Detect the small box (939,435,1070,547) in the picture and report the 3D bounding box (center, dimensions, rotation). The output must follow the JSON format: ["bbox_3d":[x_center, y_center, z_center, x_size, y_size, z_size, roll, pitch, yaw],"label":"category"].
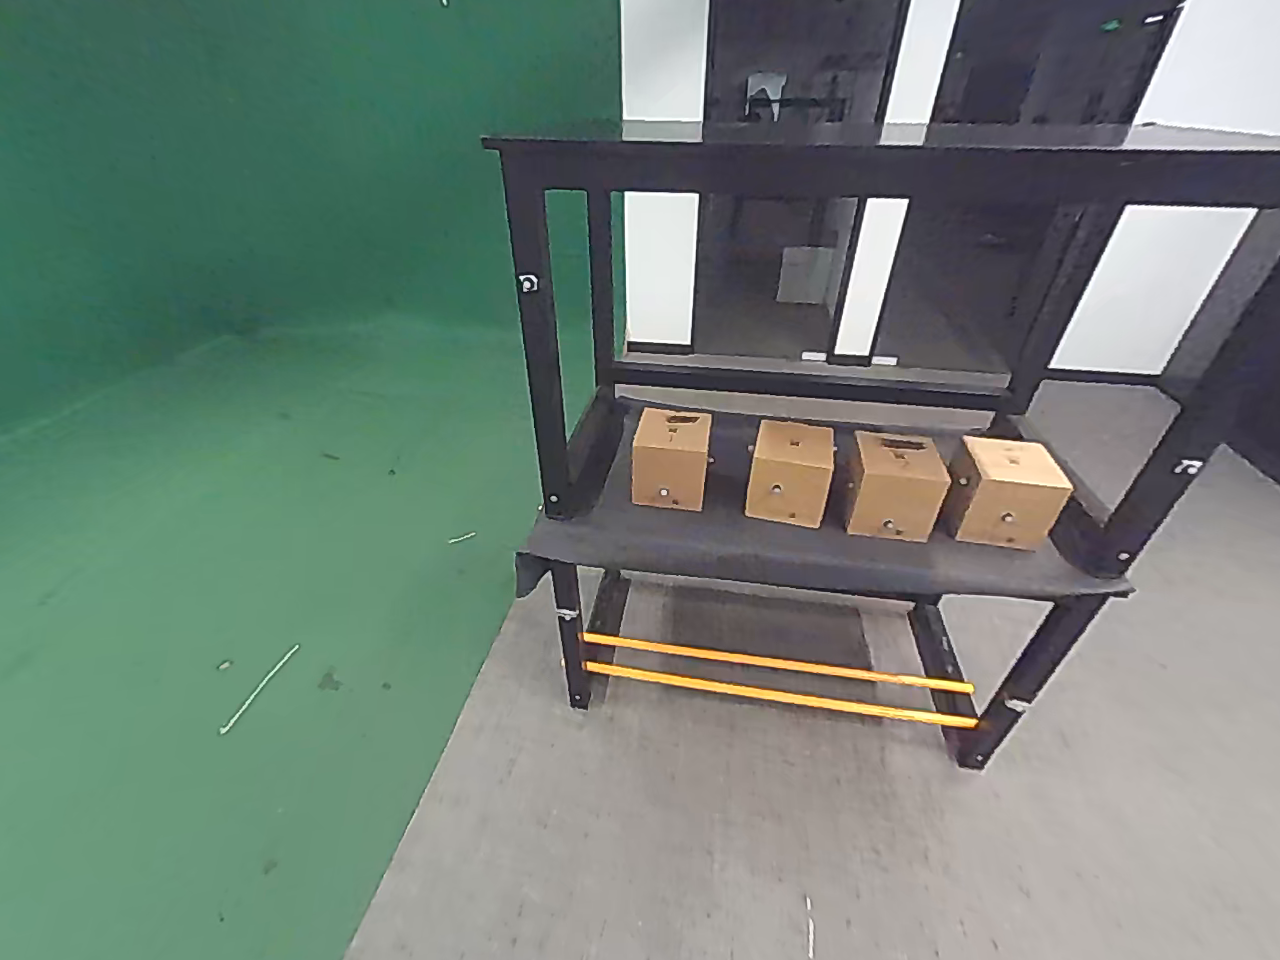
[{"bbox_3d":[0.779,0.024,1.176,0.168,0.176,0.179,7,36,10],"label":"small box"}]

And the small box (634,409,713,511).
[{"bbox_3d":[0.080,-0.050,1.283,0.168,0.176,0.179,6,37,8],"label":"small box"}]

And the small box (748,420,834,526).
[{"bbox_3d":[0.344,-0.017,1.240,0.168,0.176,0.179,9,36,13],"label":"small box"}]
